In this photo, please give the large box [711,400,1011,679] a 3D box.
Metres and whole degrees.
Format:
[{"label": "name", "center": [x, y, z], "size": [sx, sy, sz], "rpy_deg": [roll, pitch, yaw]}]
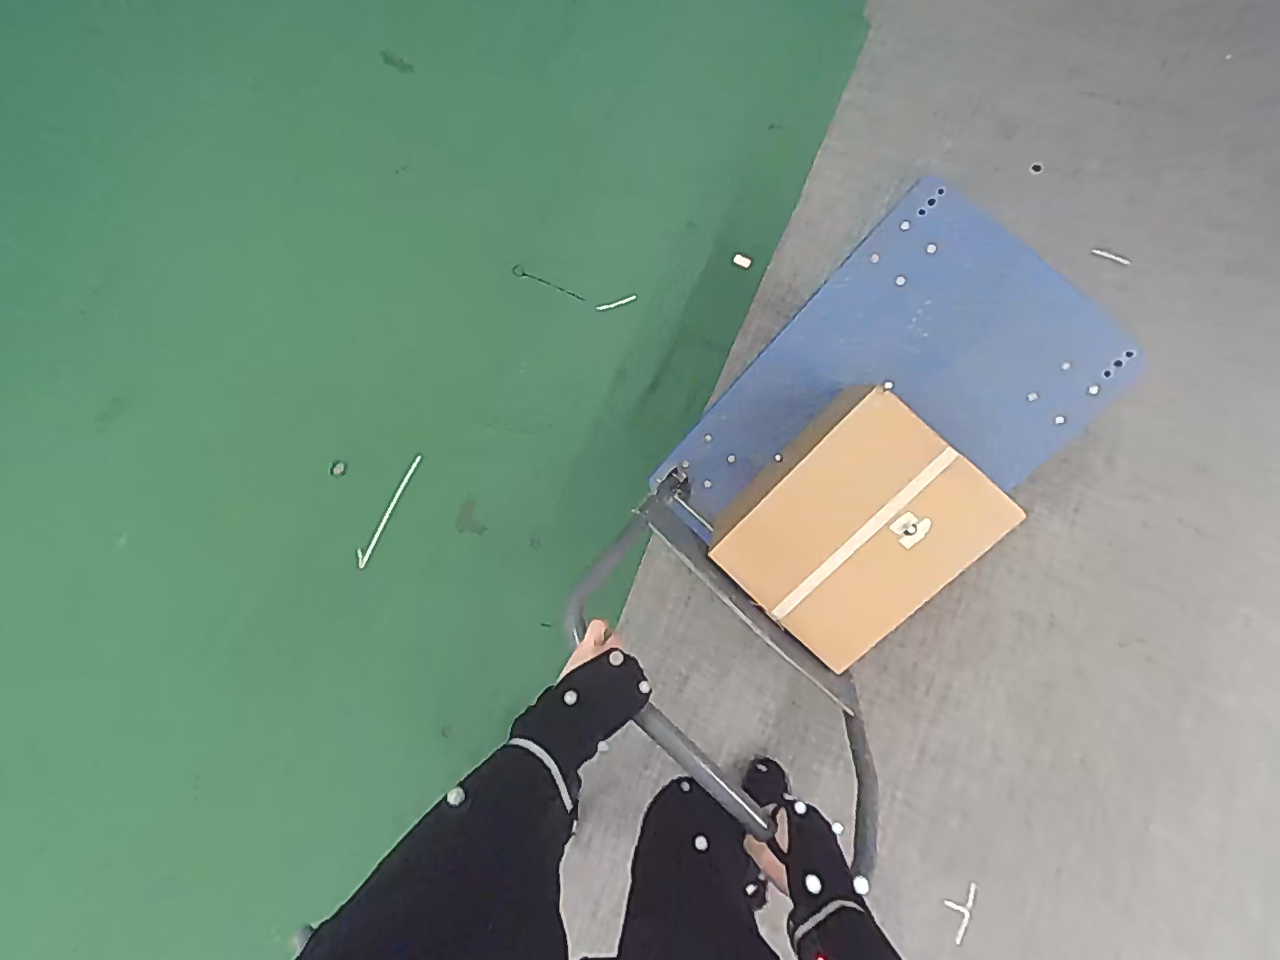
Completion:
[{"label": "large box", "center": [0.393, 0.095, 1.069], "size": [0.320, 0.320, 0.408], "rpy_deg": [44, 103, 2]}]
